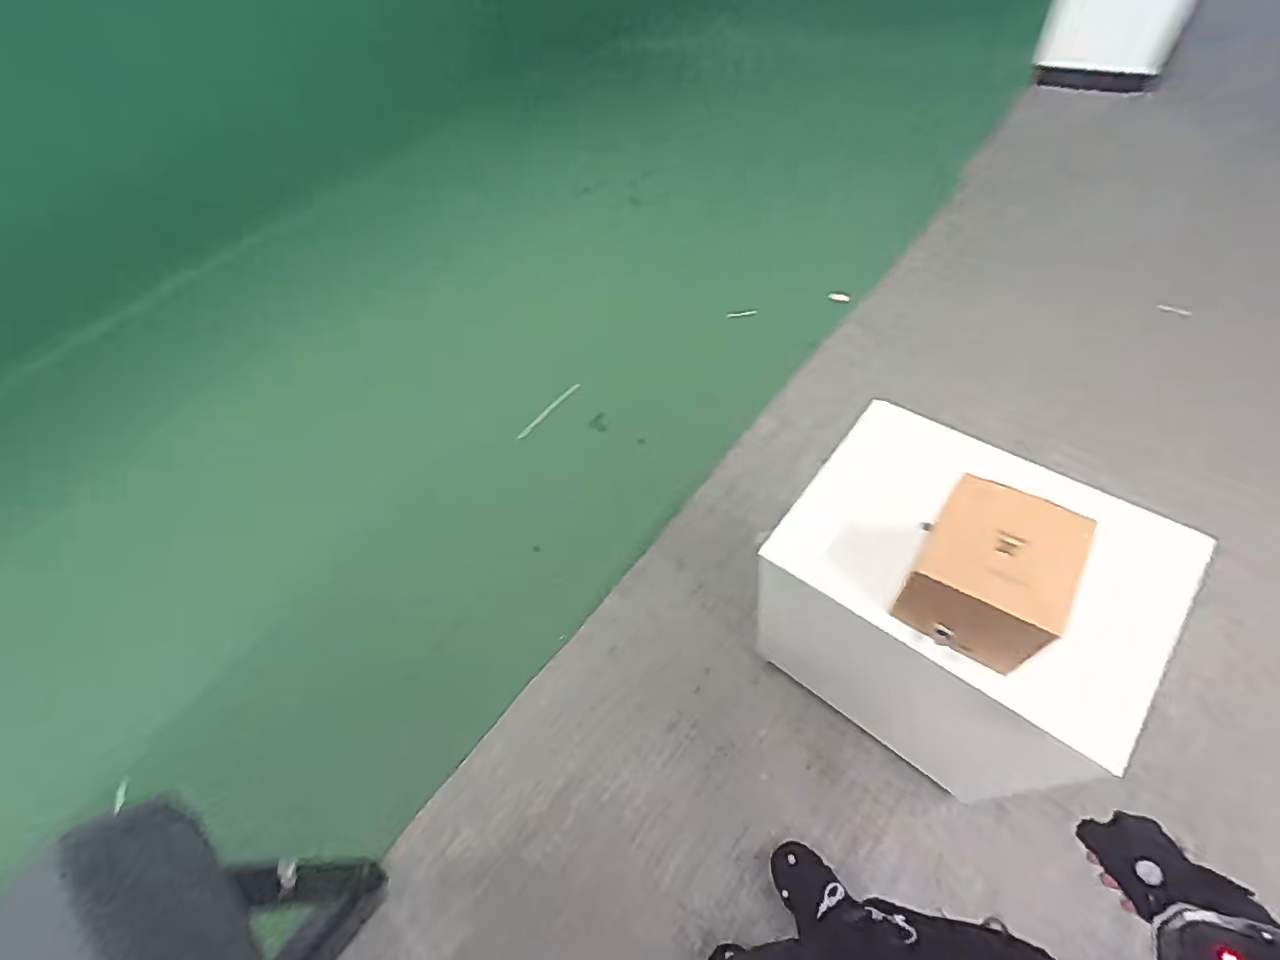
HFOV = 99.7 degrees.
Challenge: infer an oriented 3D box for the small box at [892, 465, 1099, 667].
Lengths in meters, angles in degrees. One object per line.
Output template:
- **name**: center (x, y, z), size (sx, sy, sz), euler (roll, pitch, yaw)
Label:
- **small box**: center (0.459, 0.117, 0.723), size (0.168, 0.176, 0.179), euler (25, 66, 27)
